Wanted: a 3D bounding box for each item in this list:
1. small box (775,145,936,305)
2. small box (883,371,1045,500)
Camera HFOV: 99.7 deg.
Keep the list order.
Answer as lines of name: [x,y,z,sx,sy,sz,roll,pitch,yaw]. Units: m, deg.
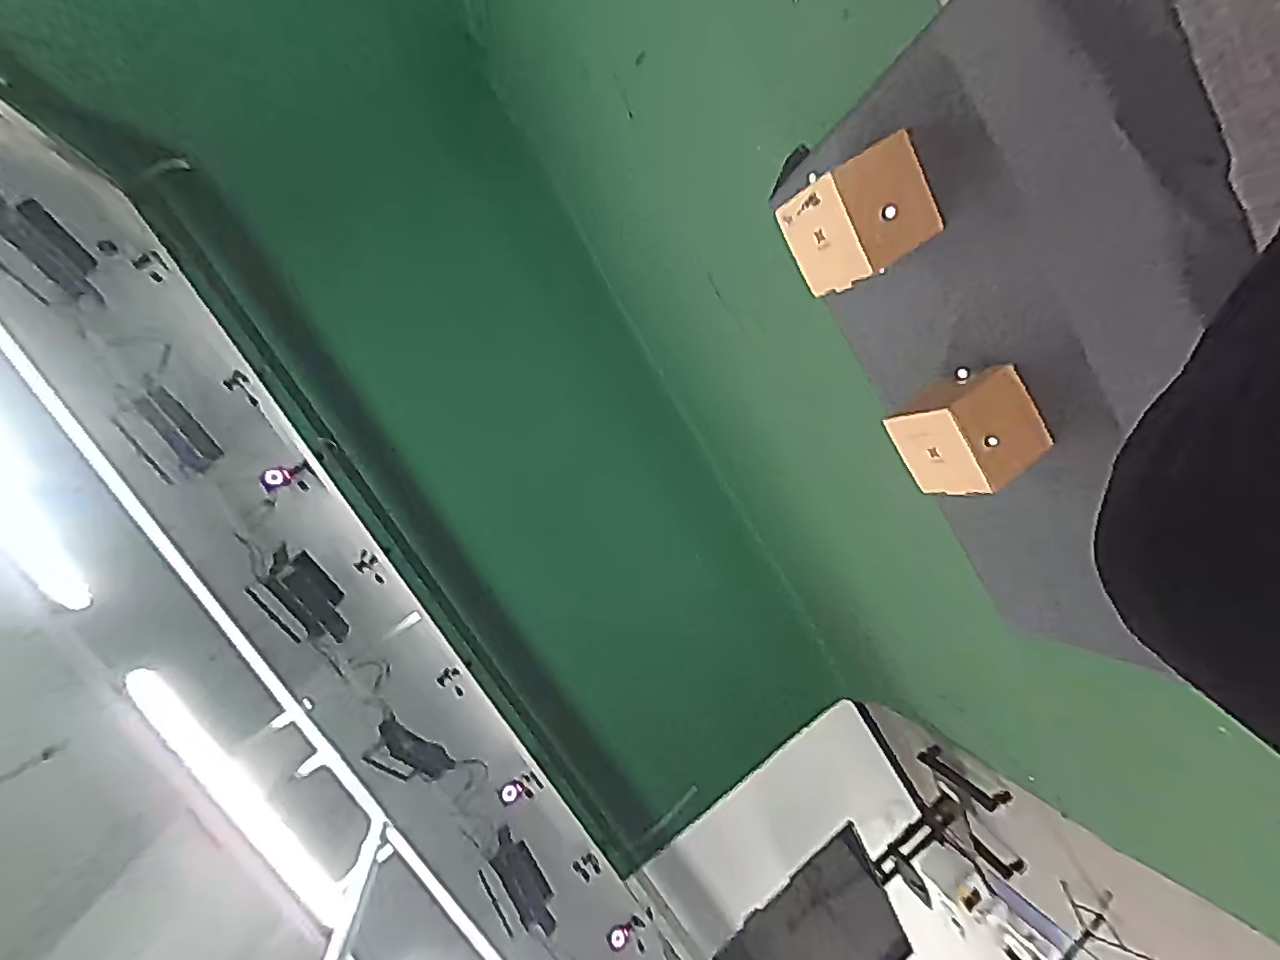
small box: [0.382,-0.444,0.959,0.179,0.176,0.168,58,167,-13]
small box: [0.612,-0.079,1.024,0.179,0.176,0.168,59,166,-6]
